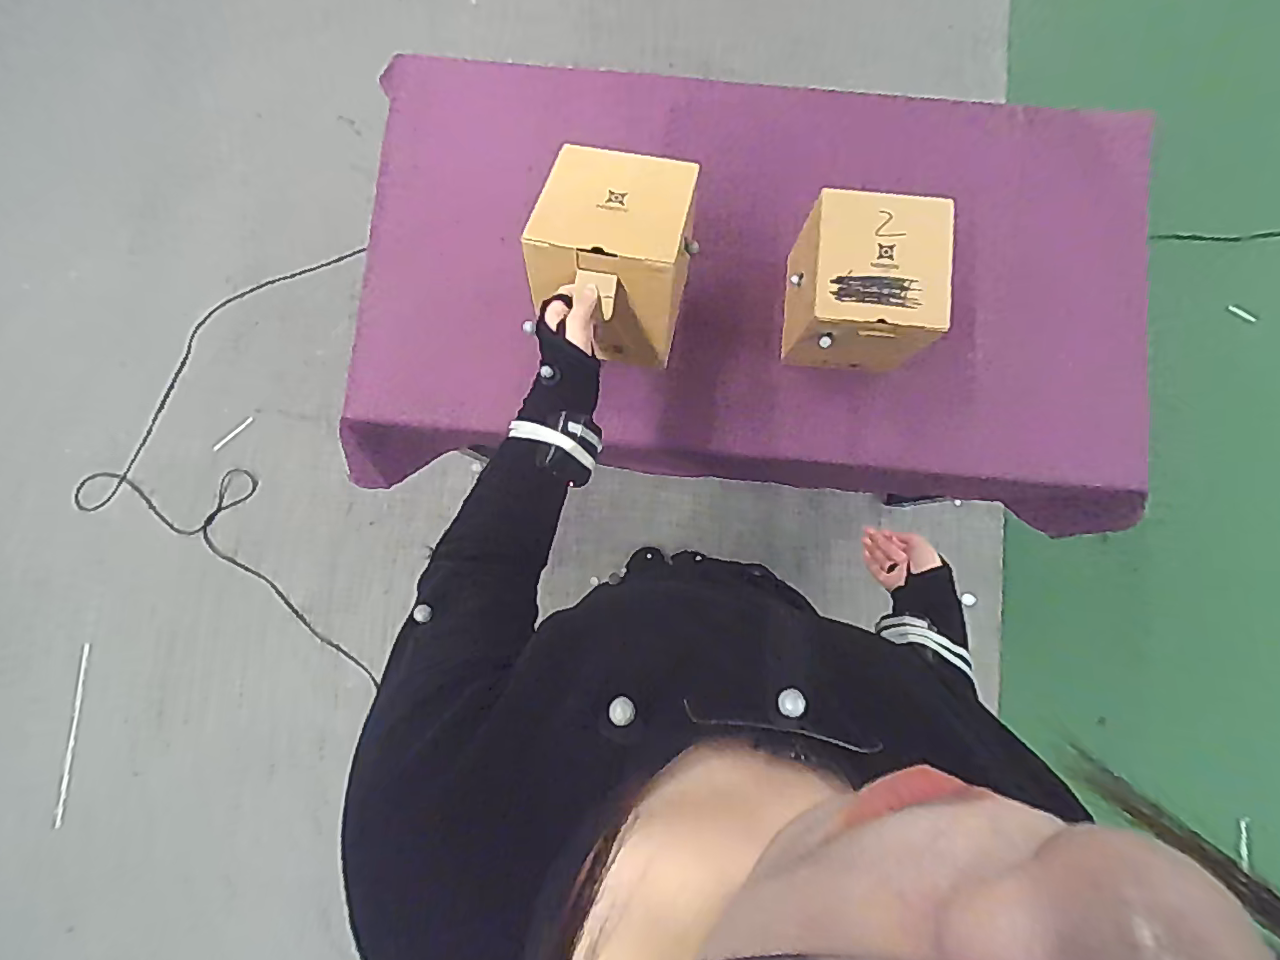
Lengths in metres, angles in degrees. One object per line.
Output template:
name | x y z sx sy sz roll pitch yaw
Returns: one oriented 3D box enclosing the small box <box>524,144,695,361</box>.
small box | -0.033 -0.281 0.683 0.168 0.176 0.179 11 63 4
